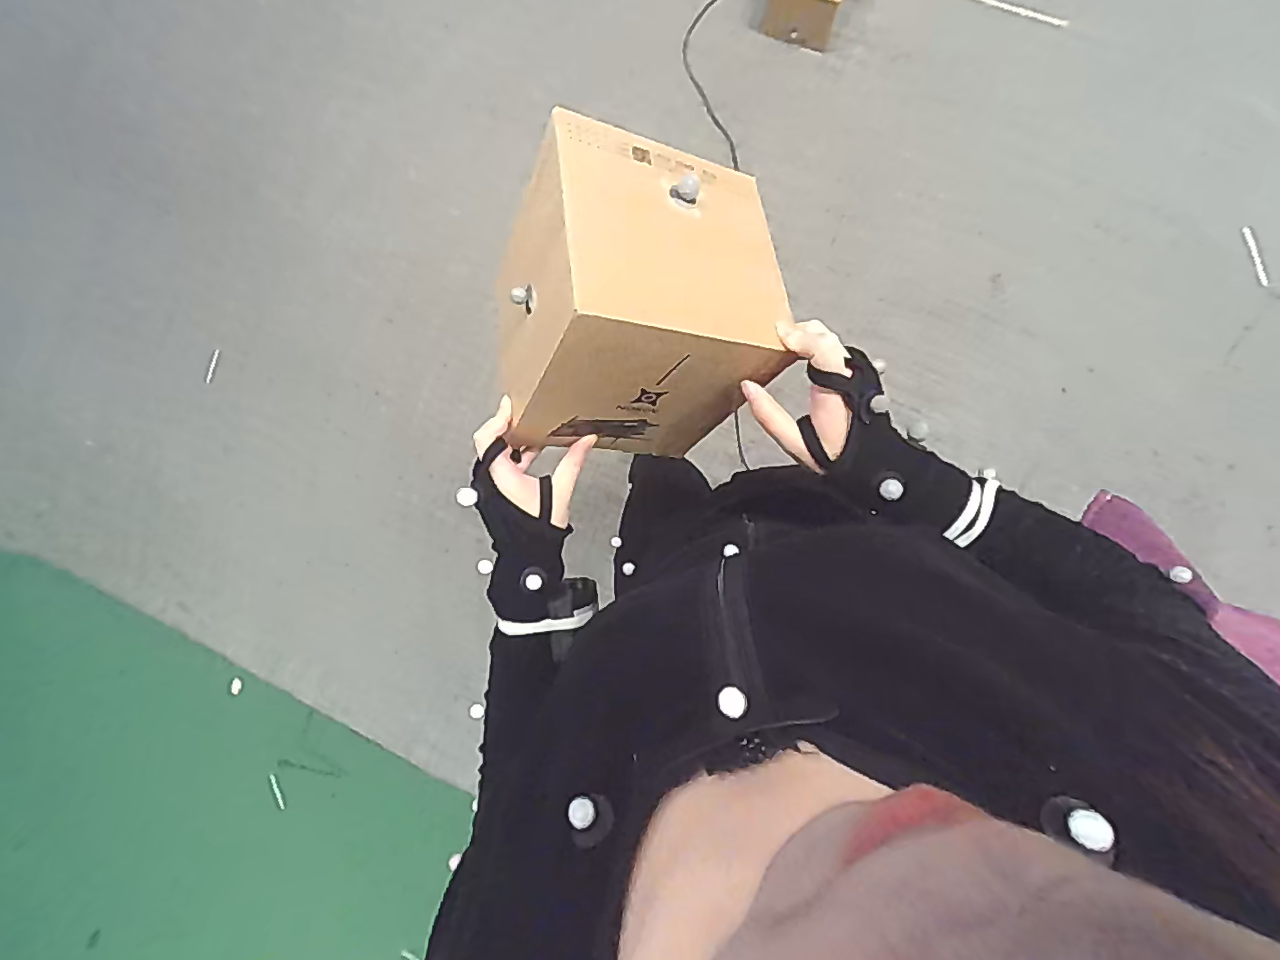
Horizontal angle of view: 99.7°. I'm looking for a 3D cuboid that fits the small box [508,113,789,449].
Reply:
[{"bbox_3d":[-0.009,-0.143,0.443,0.168,0.179,0.176,3,67,-25],"label":"small box"}]
